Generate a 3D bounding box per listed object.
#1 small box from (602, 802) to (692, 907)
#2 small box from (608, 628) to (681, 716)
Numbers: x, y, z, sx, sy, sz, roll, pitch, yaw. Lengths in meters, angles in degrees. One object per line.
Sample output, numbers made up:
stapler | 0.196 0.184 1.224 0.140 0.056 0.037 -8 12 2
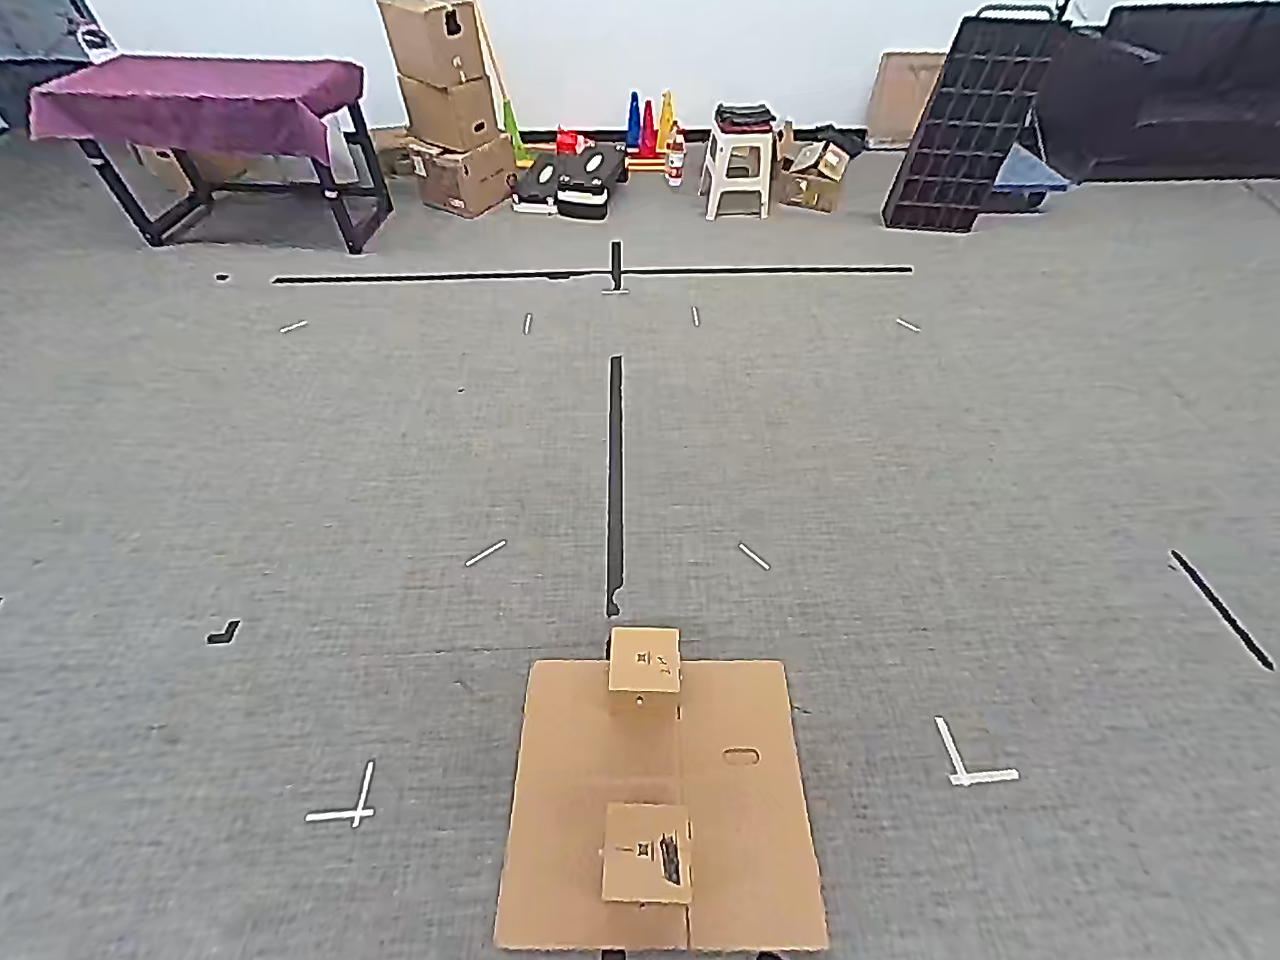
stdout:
small box | 0.014 0.797 1.148 0.179 0.176 0.168 2 49 1
small box | 0.013 0.500 1.403 0.179 0.176 0.168 3 49 0
